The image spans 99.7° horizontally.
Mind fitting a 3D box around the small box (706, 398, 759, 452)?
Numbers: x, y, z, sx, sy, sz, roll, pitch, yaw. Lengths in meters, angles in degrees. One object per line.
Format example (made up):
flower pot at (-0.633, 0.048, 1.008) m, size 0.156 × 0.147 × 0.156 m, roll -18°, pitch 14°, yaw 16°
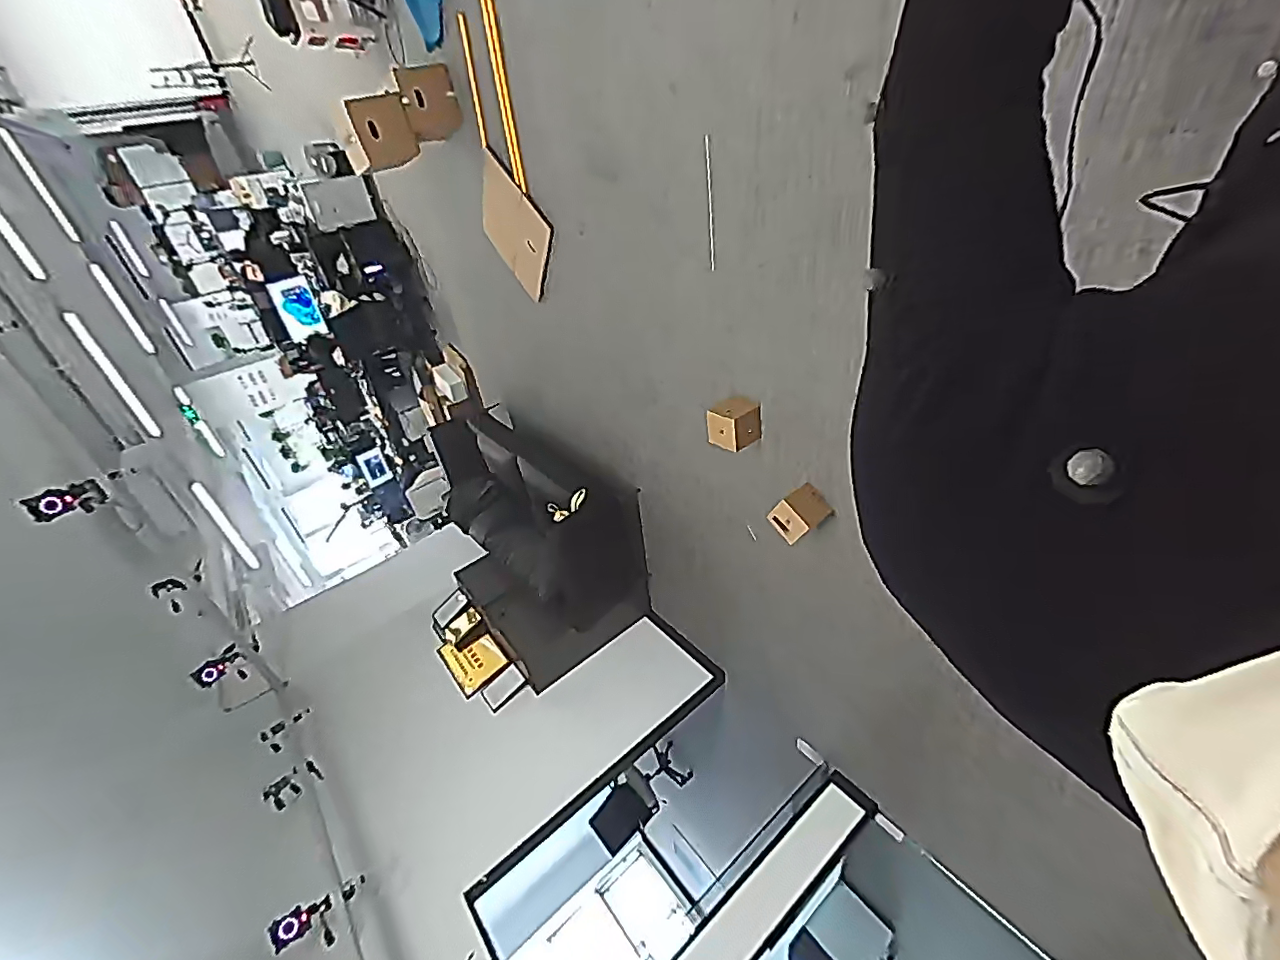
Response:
small box at (0.421, -0.255, 2.431) m, size 0.179 × 0.176 × 0.168 m, roll 29°, pitch 139°, yaw 45°
